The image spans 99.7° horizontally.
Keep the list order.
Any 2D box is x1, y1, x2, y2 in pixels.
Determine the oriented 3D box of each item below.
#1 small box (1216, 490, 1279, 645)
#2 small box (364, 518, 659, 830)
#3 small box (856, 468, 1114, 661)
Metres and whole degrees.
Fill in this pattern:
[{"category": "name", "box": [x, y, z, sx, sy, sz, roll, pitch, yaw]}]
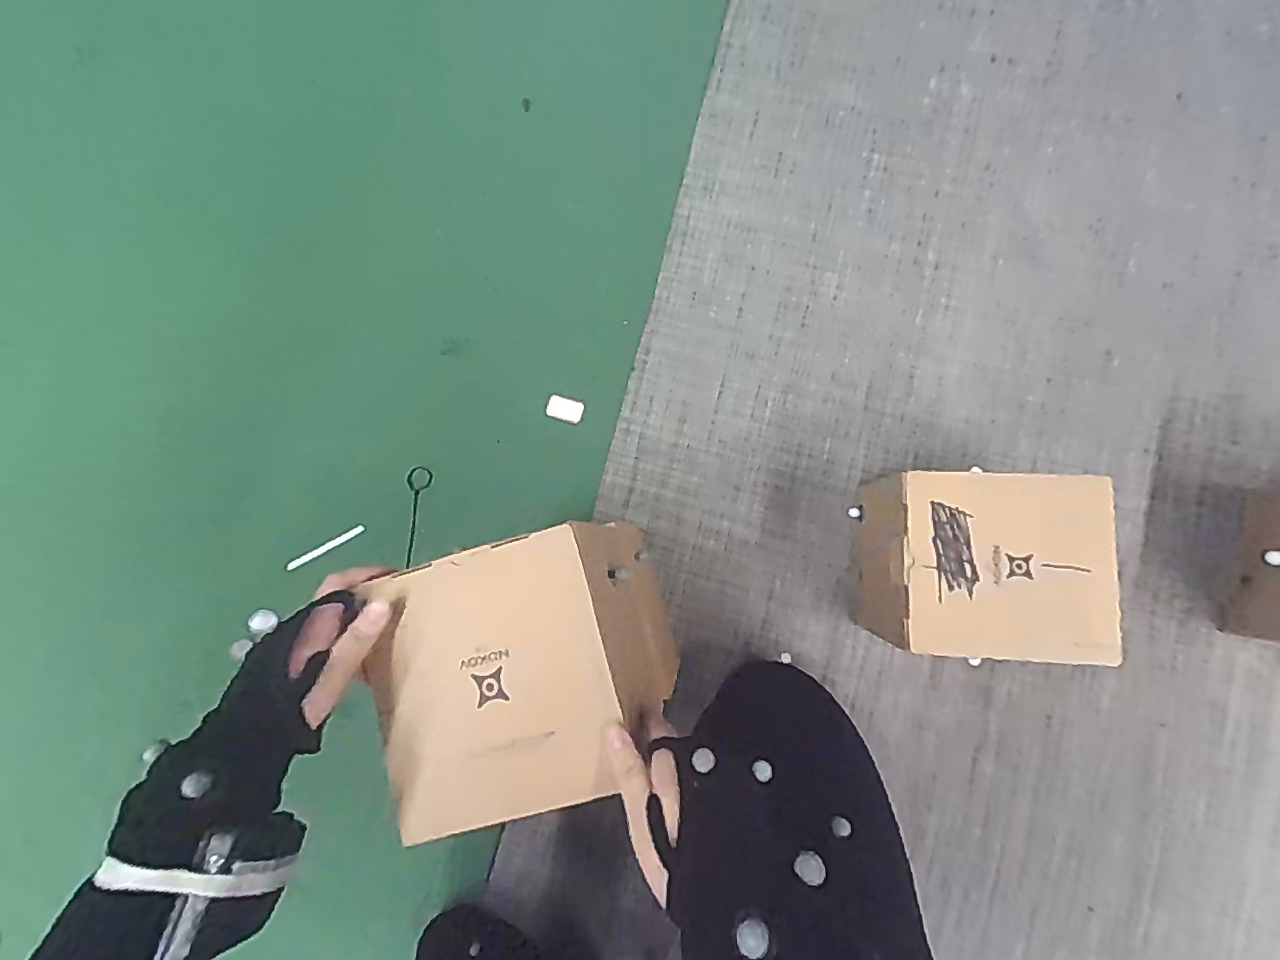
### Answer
[{"category": "small box", "box": [0.727, 0.097, 0.510, 0.179, 0.176, 0.168, 14, 85, 8]}, {"category": "small box", "box": [-0.088, 0.140, 0.444, 0.168, 0.176, 0.179, -16, 82, 5]}, {"category": "small box", "box": [0.333, 0.082, 0.561, 0.179, 0.176, 0.168, 1, 84, 6]}]
